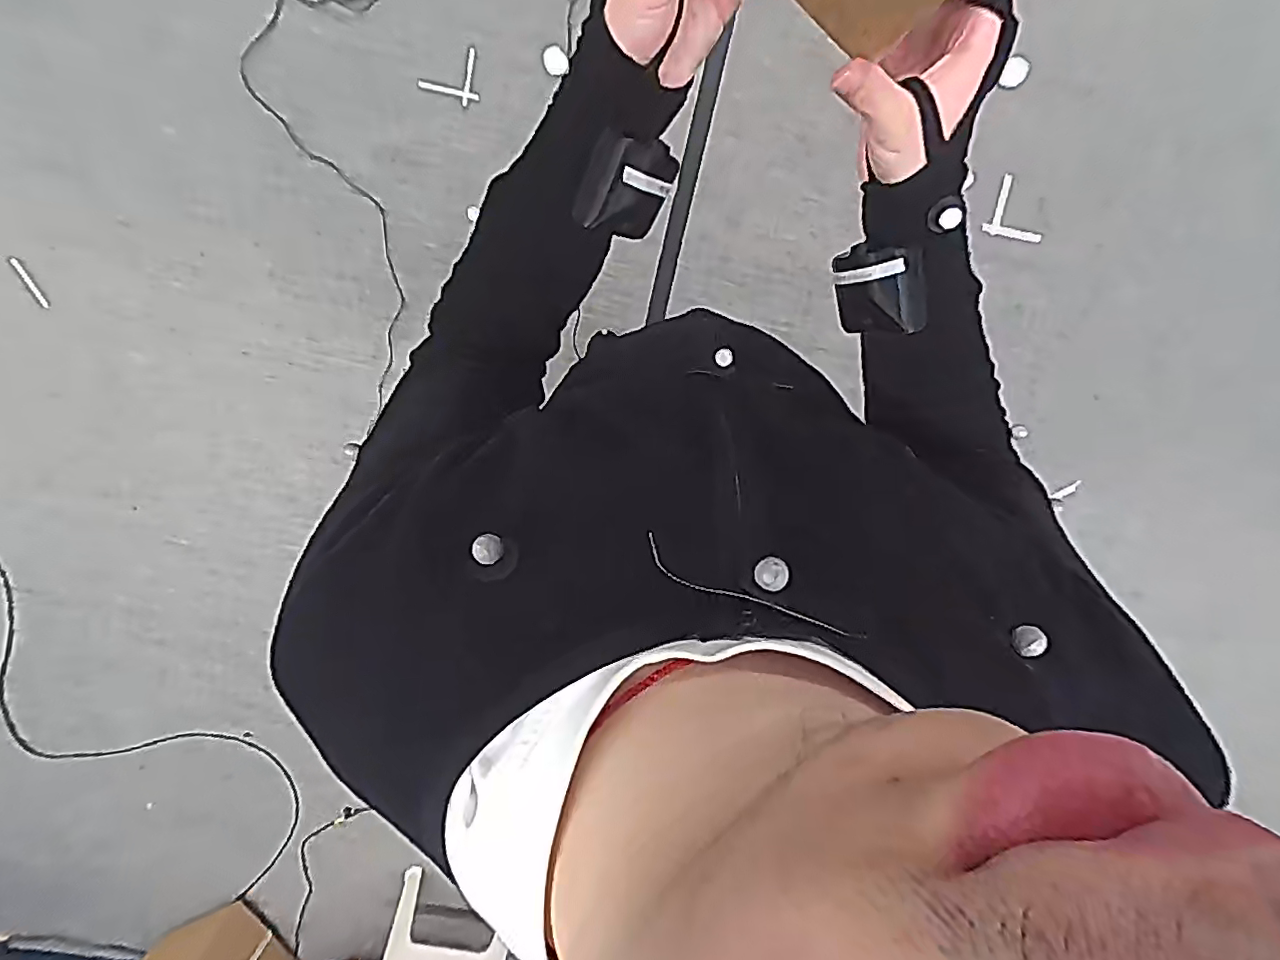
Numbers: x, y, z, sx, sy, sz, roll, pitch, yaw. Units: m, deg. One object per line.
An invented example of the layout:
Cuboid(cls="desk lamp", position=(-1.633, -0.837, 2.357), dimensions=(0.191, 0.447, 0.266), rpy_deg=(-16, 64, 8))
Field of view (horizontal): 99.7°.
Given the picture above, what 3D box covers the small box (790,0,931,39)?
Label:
Cuboid(cls="small box", position=(0.102, -0.301, 0.182), dimensions=(0.179, 0.176, 0.168), rpy_deg=(36, 109, -12))
